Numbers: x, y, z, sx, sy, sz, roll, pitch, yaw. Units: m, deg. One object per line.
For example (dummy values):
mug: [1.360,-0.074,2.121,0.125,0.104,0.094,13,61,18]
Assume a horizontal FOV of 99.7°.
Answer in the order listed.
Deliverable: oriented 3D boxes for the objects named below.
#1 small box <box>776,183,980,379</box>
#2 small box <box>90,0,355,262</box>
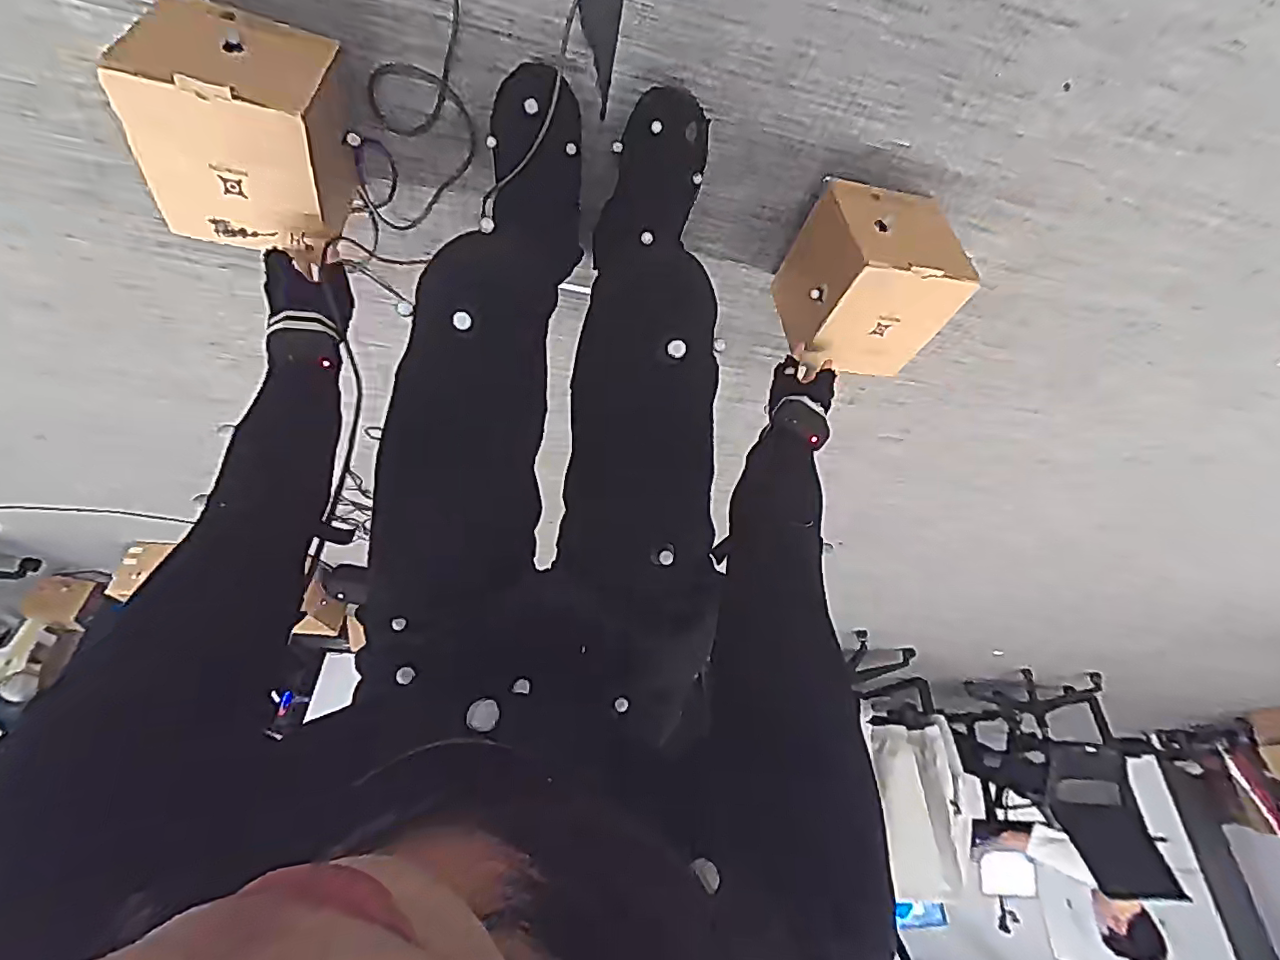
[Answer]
small box: [0.303,-0.266,0.735,0.168,0.176,0.179,5,148,-14]
small box: [-0.431,-0.382,0.599,0.168,0.176,0.179,7,145,-16]
